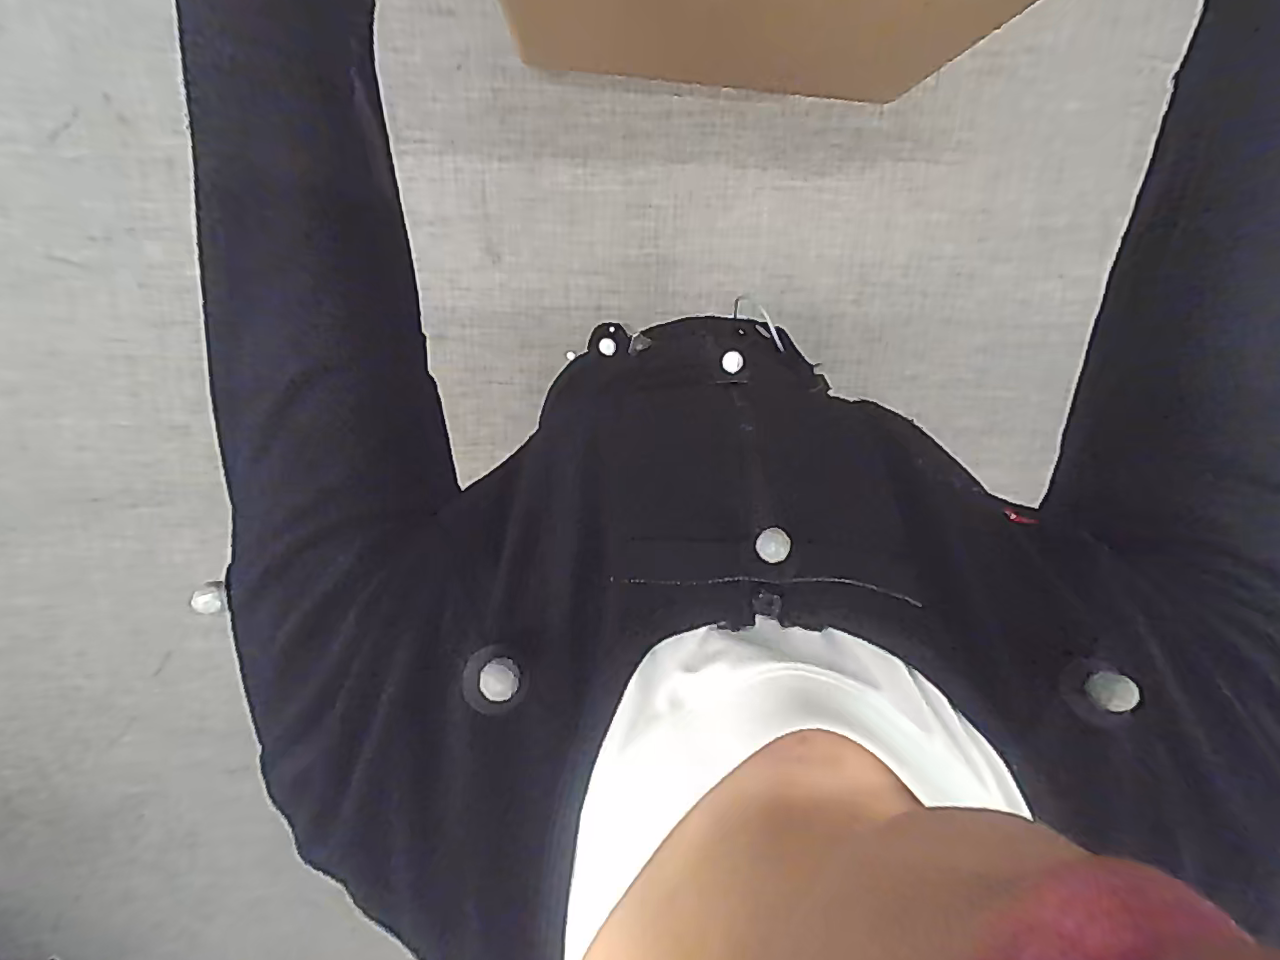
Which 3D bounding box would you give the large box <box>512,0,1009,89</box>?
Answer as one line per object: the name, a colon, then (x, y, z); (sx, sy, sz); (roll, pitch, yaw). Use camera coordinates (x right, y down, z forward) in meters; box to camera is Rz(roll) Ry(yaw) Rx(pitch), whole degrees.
large box: (0.096, -0.528, 0.392); (0.408, 0.320, 0.320); (2, 109, -5)
